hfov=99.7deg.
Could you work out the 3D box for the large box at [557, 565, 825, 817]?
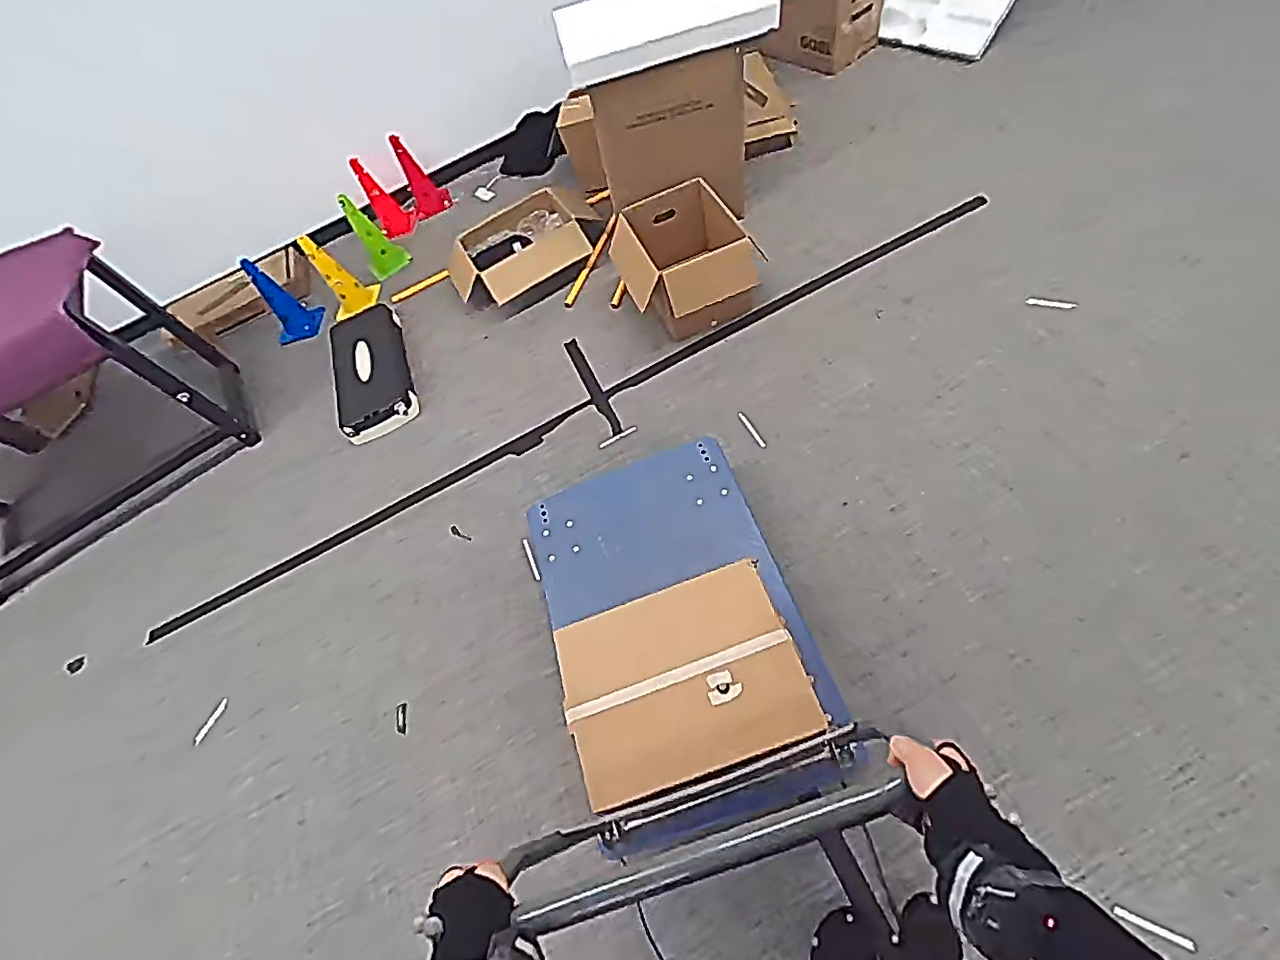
[{"bbox_3d":[0.098,0.425,1.066,0.408,0.320,0.320,-20,58,1],"label":"large box"}]
